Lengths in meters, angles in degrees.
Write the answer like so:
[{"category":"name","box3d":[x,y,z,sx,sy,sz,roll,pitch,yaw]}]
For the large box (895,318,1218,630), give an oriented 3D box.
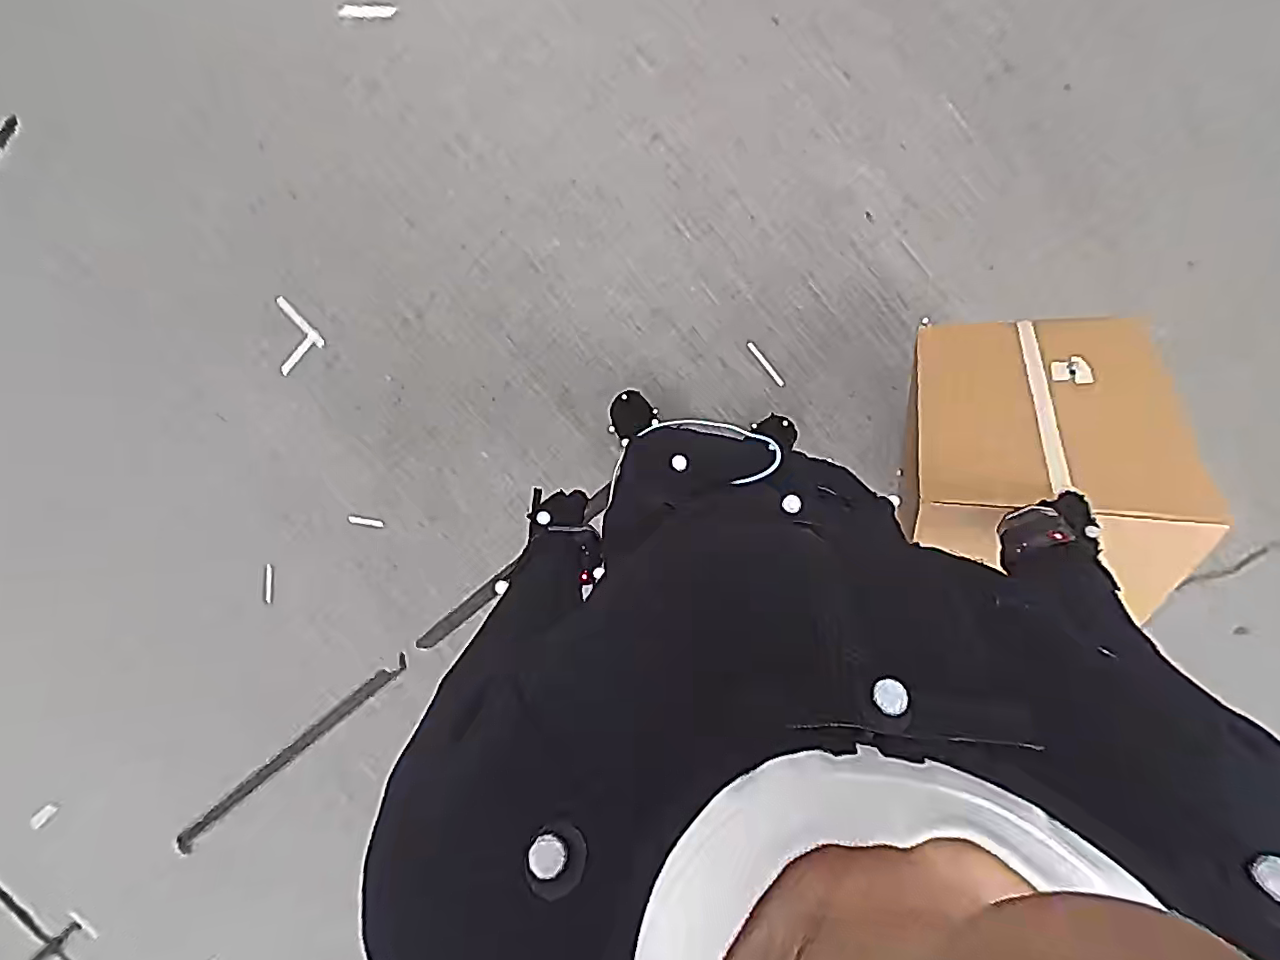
[{"category":"large box","box3d":[0.606,-0.015,0.893,0.320,0.408,0.320,3,139,21]}]
